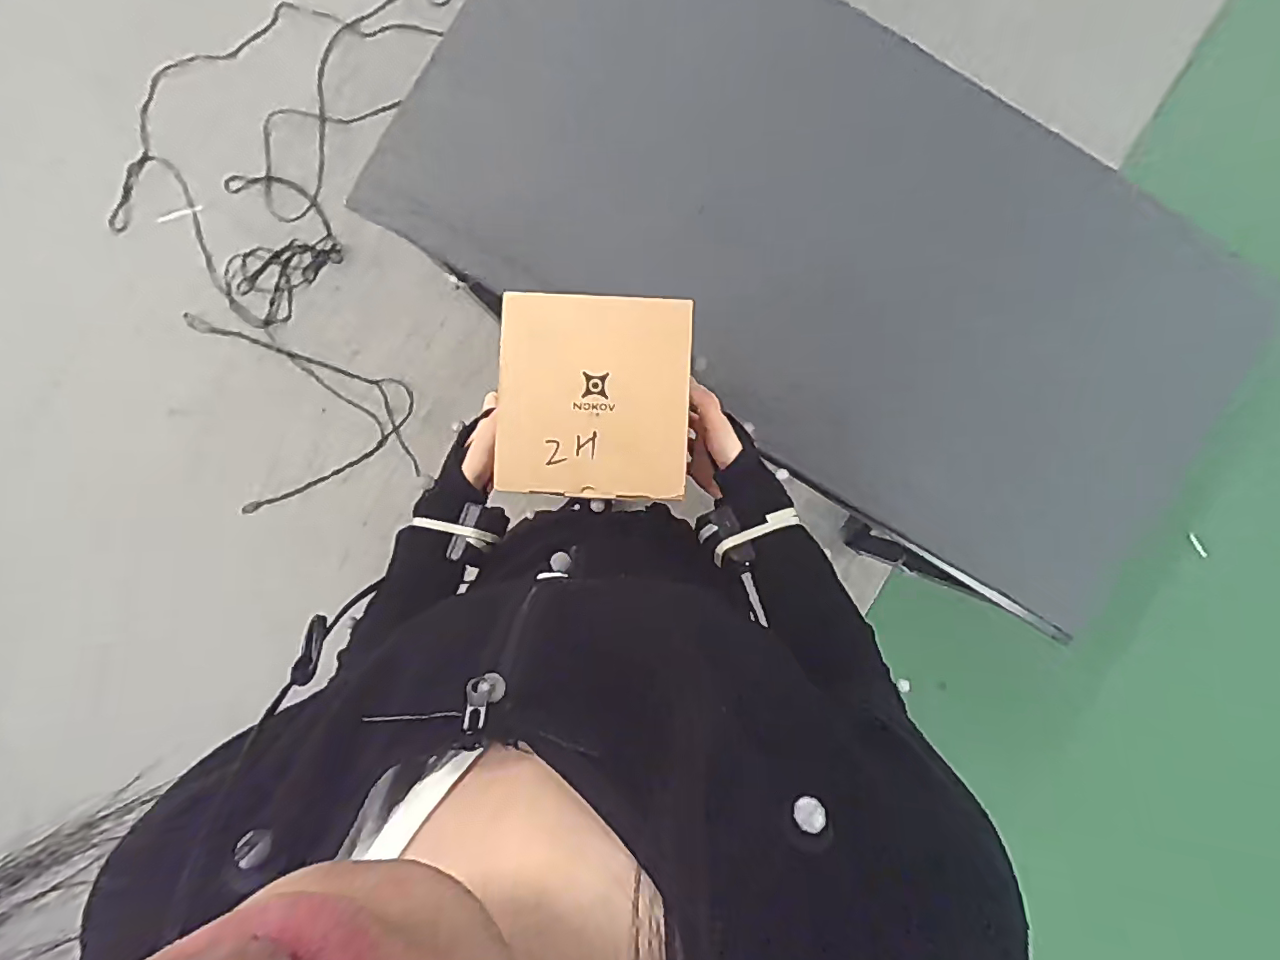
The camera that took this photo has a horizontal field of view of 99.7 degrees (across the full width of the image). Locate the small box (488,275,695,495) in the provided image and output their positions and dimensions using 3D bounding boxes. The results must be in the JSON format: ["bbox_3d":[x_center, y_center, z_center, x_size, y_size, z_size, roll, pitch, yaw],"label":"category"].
[{"bbox_3d":[-0.041,-0.079,0.535,0.168,0.176,0.179,4,88,0],"label":"small box"}]
